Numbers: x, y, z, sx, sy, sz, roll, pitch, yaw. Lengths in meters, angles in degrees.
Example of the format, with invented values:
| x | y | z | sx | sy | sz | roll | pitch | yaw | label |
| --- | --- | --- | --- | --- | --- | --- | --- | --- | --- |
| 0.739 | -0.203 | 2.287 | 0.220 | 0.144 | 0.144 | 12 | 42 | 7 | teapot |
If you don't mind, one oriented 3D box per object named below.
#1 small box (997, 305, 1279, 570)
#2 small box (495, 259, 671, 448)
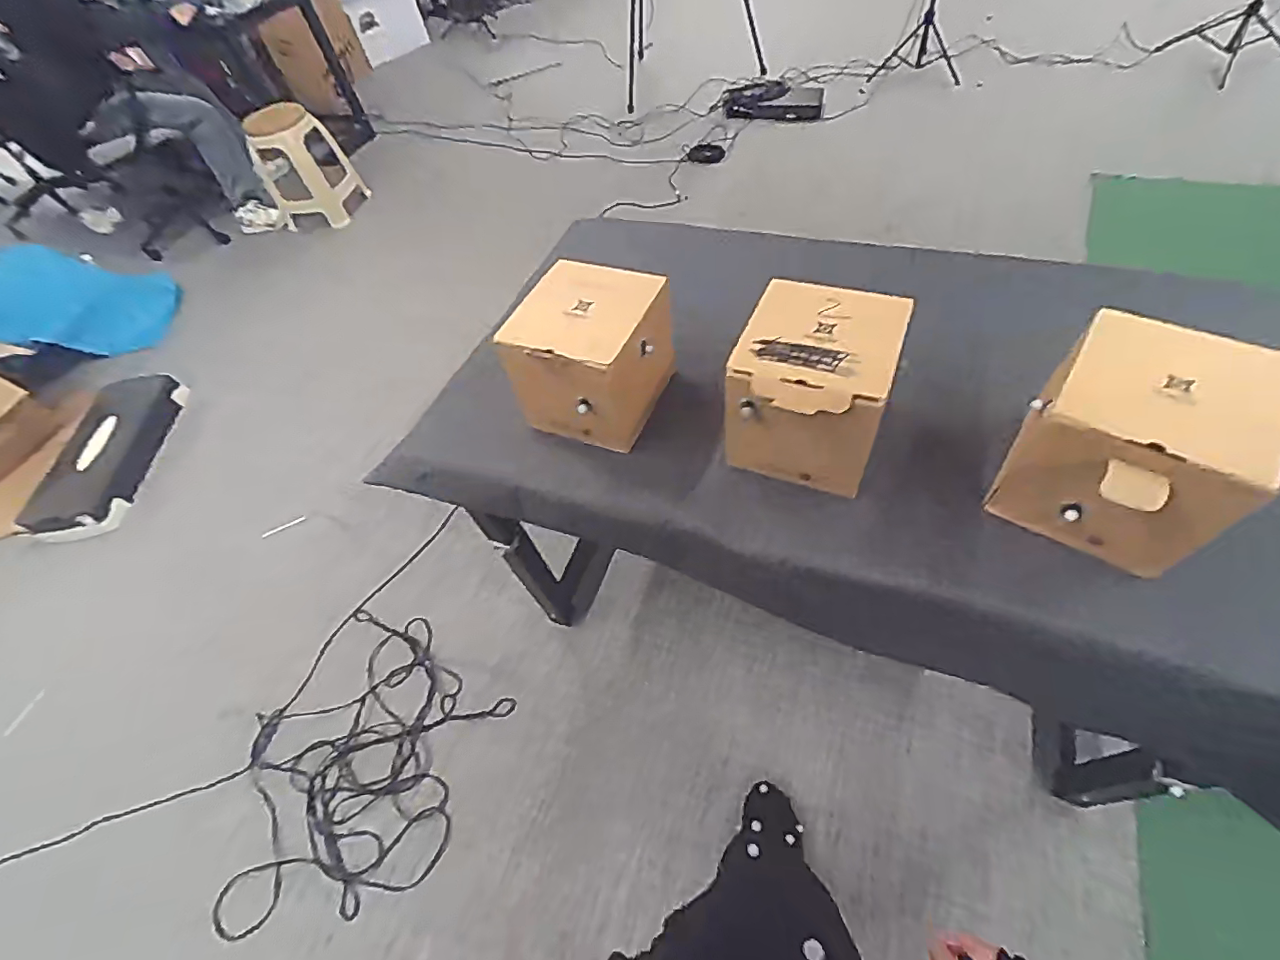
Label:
| x | y | z | sx | sy | sz | roll | pitch | yaw | label |
| --- | --- | --- | --- | --- | --- | --- | --- | --- | --- |
| 0.508 | -0.042 | 0.558 | 0.168 | 0.176 | 0.179 | 29 | 64 | 25 | small box |
| -0.062 | -0.170 | 0.740 | 0.168 | 0.176 | 0.179 | 17 | 58 | 18 | small box |
